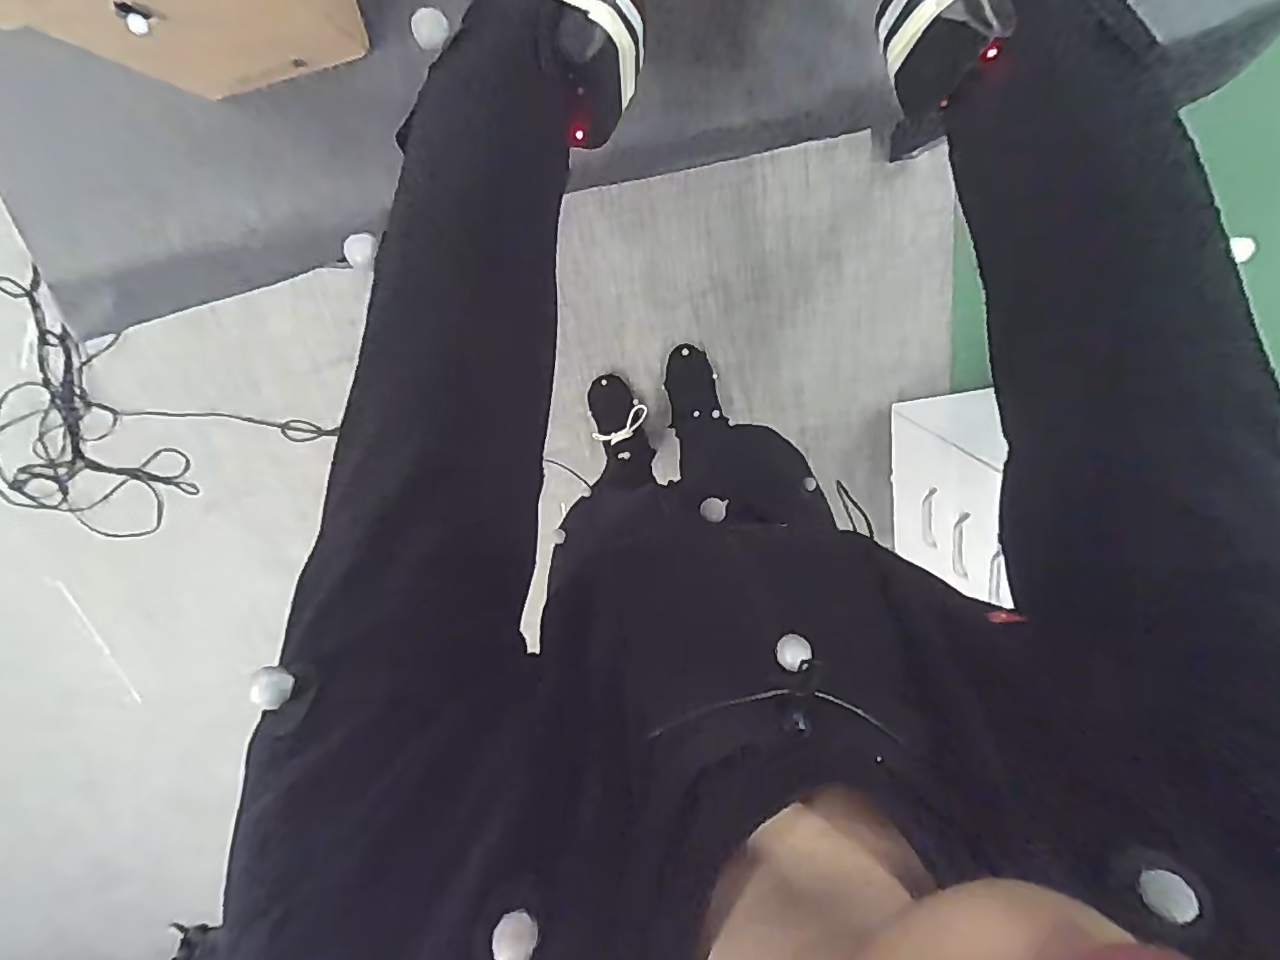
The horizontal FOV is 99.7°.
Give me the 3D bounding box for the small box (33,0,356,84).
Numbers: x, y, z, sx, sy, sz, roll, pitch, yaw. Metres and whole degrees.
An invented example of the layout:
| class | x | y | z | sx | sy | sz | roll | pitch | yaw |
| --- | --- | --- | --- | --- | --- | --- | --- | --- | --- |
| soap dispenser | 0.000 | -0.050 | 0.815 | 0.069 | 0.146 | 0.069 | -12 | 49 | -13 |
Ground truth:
| class | x | y | z | sx | sy | sz | roll | pitch | yaw |
| --- | --- | --- | --- | --- | --- | --- | --- | --- | --- |
| small box | -0.343 | -0.424 | 0.381 | 0.168 | 0.176 | 0.179 | -10 | 109 | 6 |
